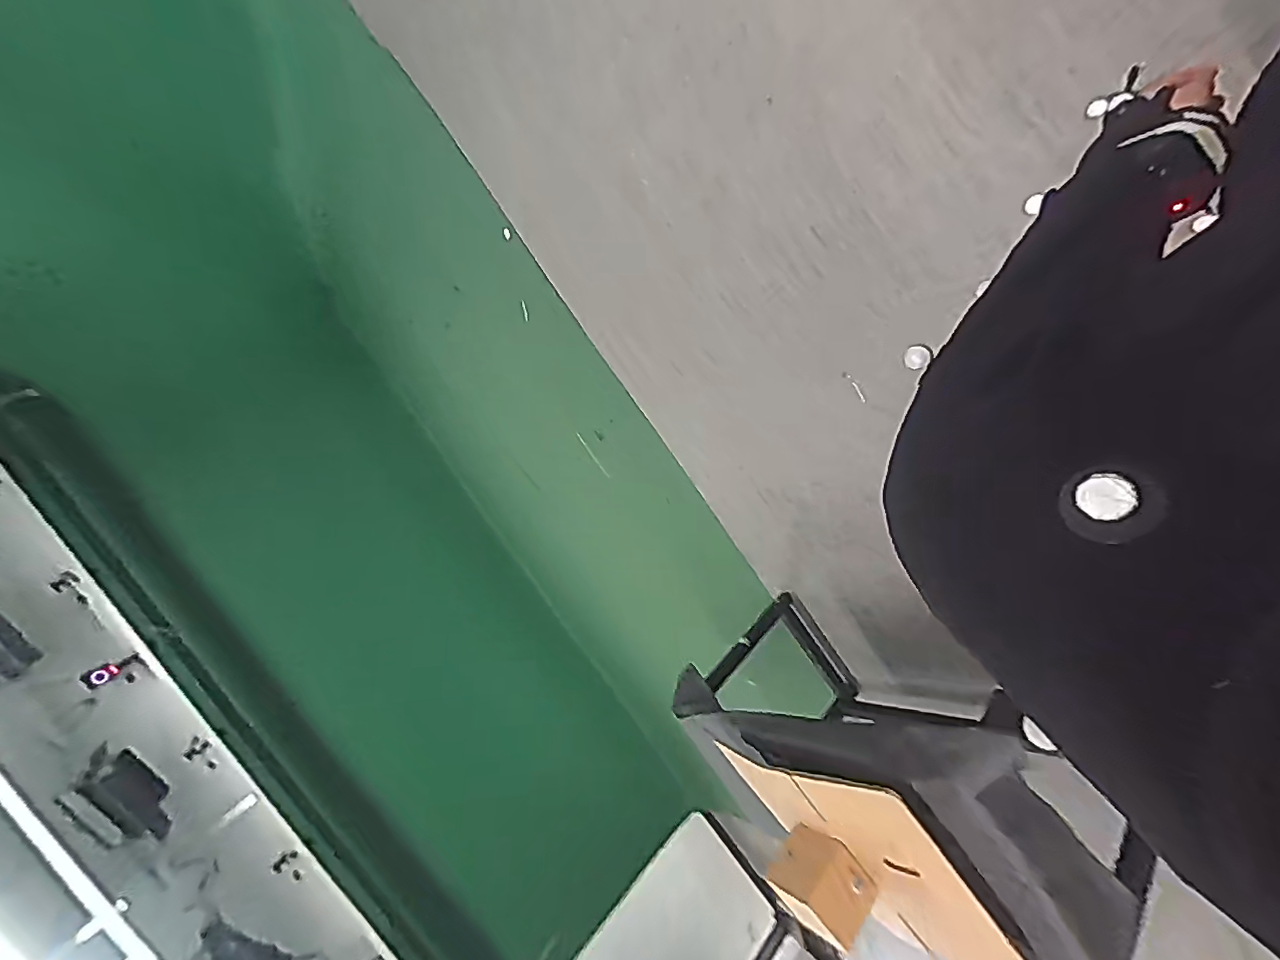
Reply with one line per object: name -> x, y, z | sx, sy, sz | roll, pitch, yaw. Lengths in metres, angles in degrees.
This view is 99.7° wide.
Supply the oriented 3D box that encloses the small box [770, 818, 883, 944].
small box -> 0.476, 1.005, 1.377 | 0.168, 0.176, 0.179 | 50, 151, -3
